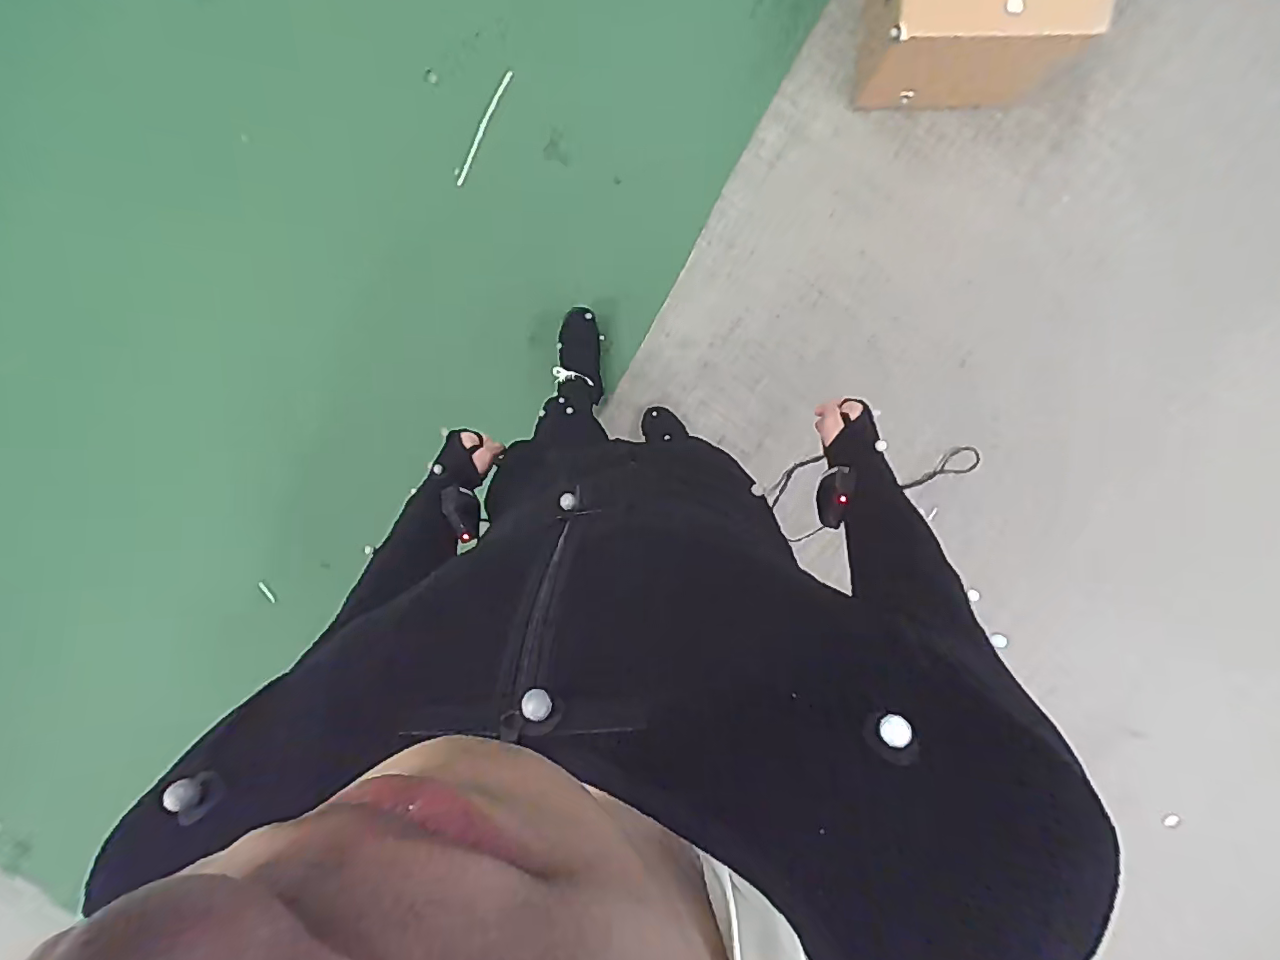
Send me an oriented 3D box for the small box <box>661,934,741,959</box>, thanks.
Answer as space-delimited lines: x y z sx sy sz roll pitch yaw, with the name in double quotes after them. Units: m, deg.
0.113 1.019 1.022 0.179 0.176 0.168 30 104 -2 "small box"
